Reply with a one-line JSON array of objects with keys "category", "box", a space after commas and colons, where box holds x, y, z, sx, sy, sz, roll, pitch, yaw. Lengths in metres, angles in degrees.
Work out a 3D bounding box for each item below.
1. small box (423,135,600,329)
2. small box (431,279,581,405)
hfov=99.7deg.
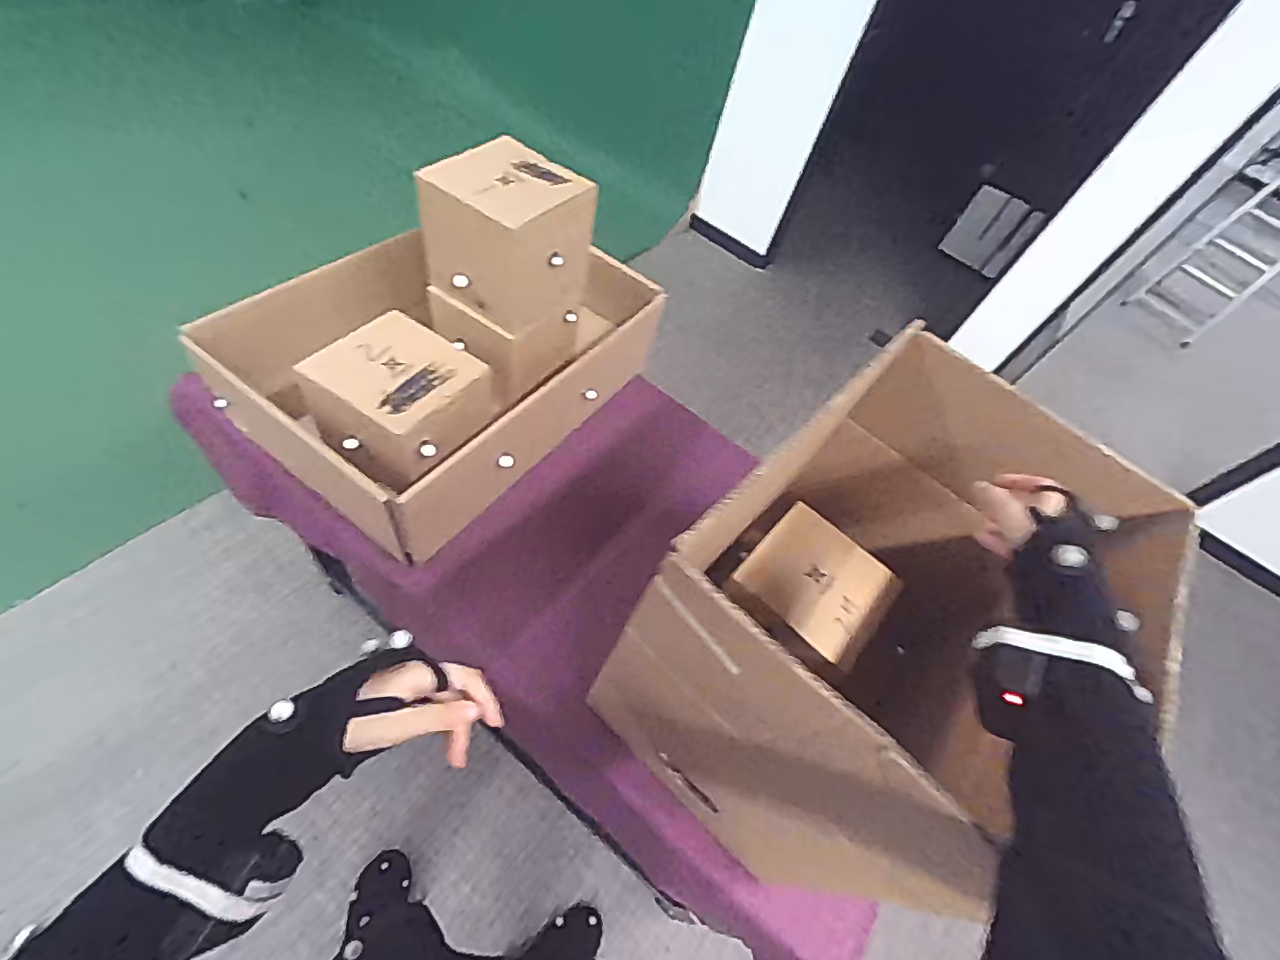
[{"category": "small box", "box": [-0.182, -0.355, 0.782, 0.168, 0.176, 0.179, 33, 56, 11]}, {"category": "small box", "box": [-0.218, -0.258, 0.910, 0.168, 0.176, 0.179, 33, 55, 11]}]
